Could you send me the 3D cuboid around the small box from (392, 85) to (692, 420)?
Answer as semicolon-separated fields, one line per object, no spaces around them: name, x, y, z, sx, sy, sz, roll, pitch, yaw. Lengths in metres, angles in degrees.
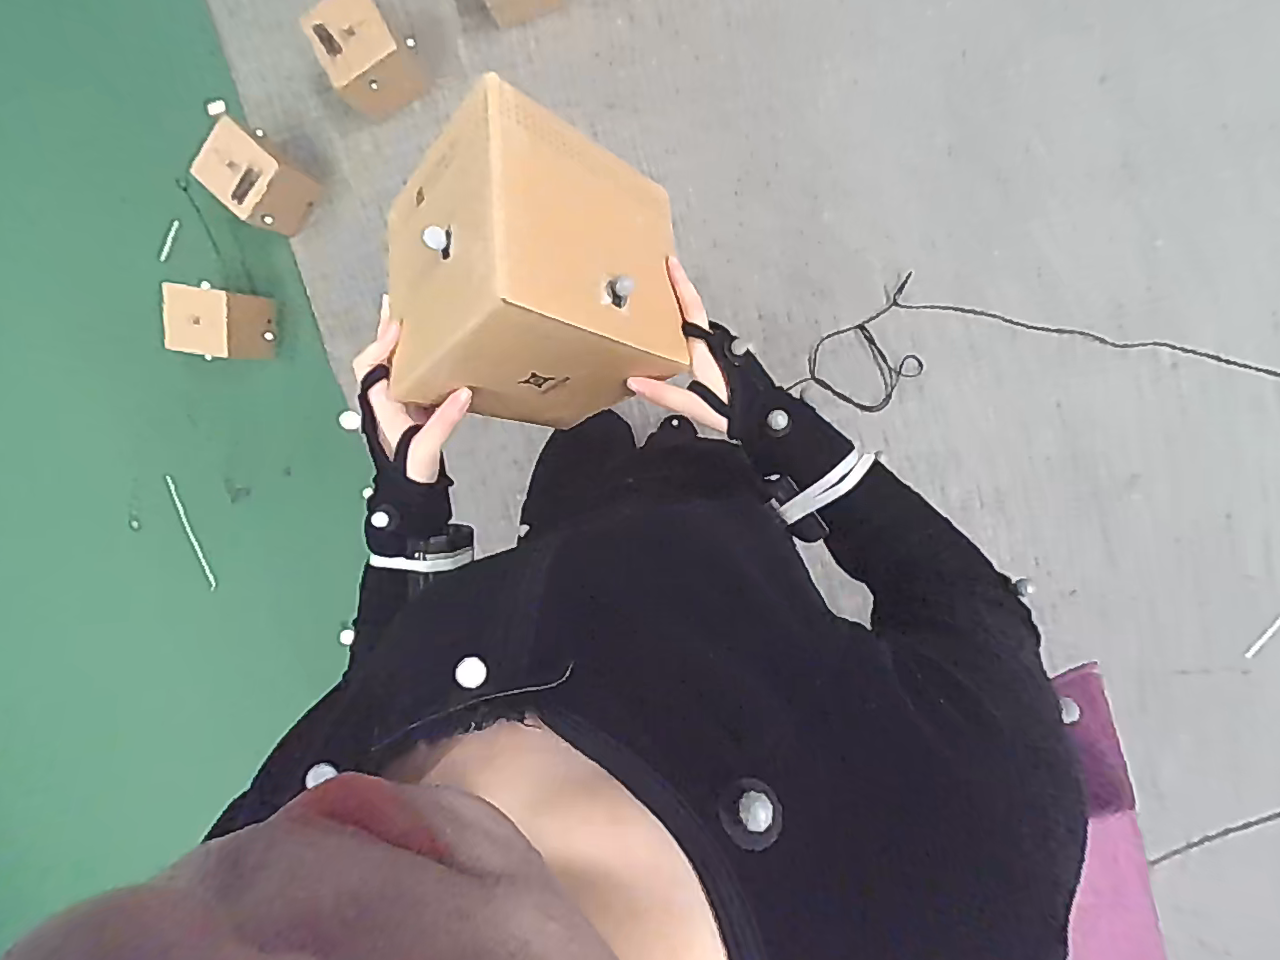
small box;-0.083;-0.166;0.439;0.168;0.179;0.176;-18;73;42

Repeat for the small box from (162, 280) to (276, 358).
small box;-1.114;-0.421;1.437;0.179;0.176;0.168;10;102;4

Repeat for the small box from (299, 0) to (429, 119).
small box;-0.639;-1.000;1.272;0.179;0.176;0.168;-26;97;9

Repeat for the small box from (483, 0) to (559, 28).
small box;-0.285;-1.168;1.204;0.179;0.176;0.168;-13;99;8
